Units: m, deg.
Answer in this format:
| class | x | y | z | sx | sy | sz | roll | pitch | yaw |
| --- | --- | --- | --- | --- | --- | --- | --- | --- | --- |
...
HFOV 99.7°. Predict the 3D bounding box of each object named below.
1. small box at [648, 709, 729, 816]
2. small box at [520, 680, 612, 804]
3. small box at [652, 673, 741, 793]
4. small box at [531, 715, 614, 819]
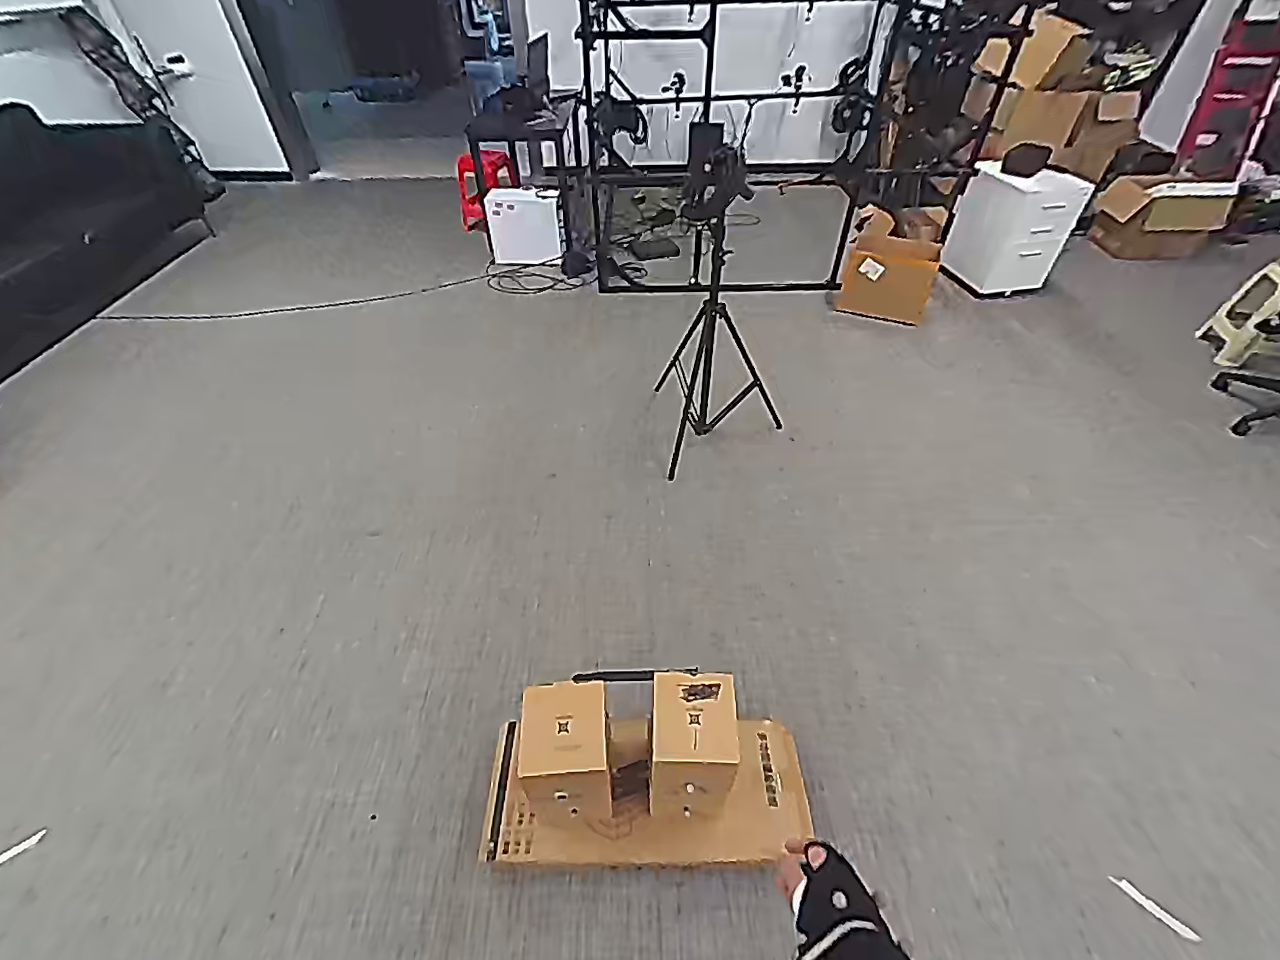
| class | x | y | z | sx | sy | sz | roll | pitch | yaw |
| --- | --- | --- | --- | --- | --- | --- | --- | --- | --- |
| small box | 0.102 | 0.641 | 1.229 | 0.168 | 0.176 | 0.179 | -2 | 44 | 0 |
| small box | -0.146 | 0.535 | 1.106 | 0.168 | 0.176 | 0.179 | -5 | 45 | -3 |
| small box | 0.110 | 0.522 | 1.117 | 0.168 | 0.176 | 0.179 | 1 | 44 | 2 |
| small box | -0.145 | 0.650 | 1.222 | 0.168 | 0.176 | 0.179 | -2 | 45 | -2 |
